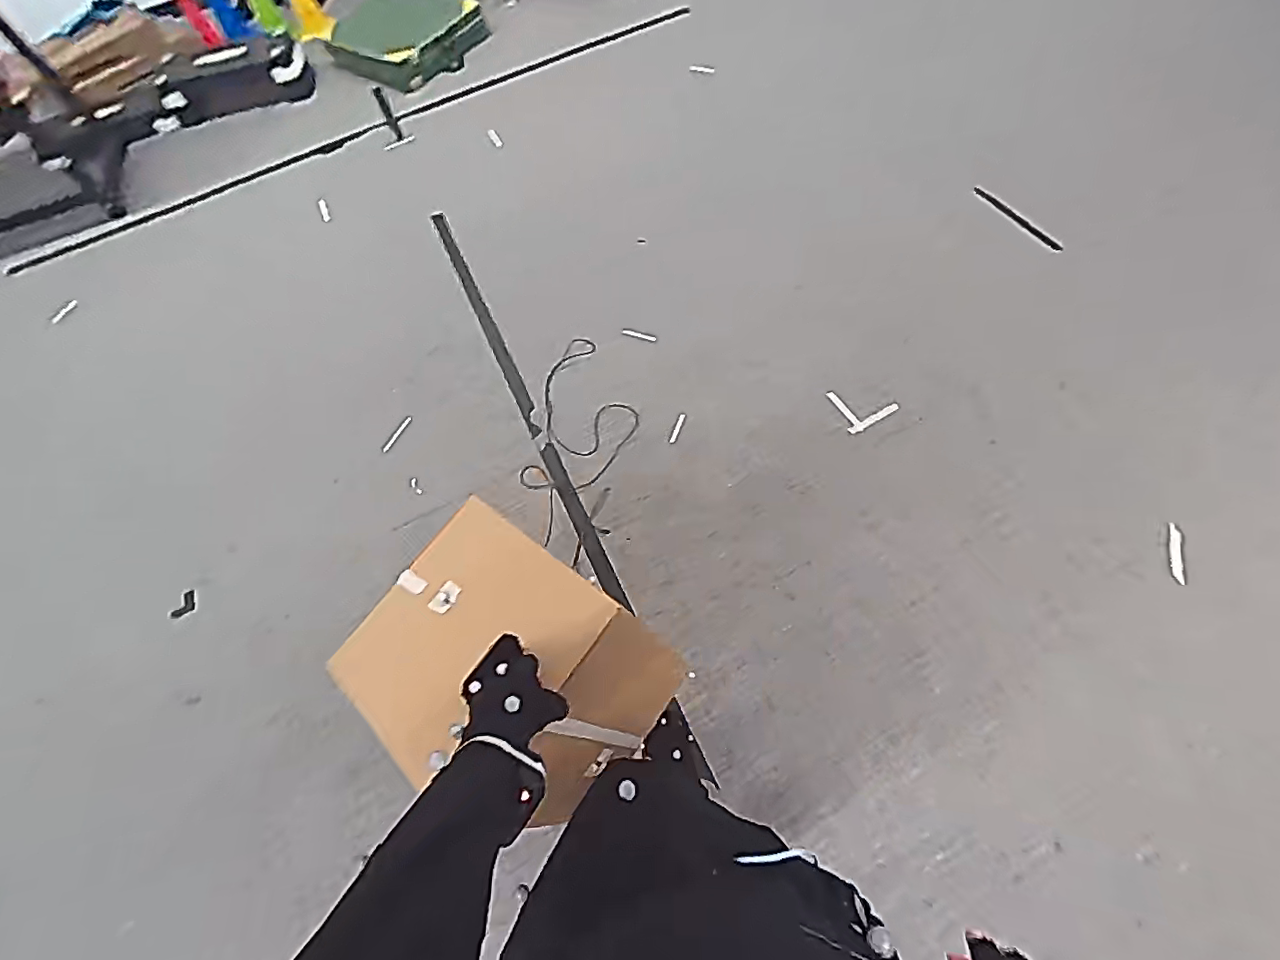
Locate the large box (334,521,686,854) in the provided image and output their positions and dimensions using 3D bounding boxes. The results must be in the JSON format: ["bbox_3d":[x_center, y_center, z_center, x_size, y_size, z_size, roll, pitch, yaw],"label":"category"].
[{"bbox_3d":[-0.173,0.322,0.871,0.320,0.408,0.320,30,75,29],"label":"large box"}]
